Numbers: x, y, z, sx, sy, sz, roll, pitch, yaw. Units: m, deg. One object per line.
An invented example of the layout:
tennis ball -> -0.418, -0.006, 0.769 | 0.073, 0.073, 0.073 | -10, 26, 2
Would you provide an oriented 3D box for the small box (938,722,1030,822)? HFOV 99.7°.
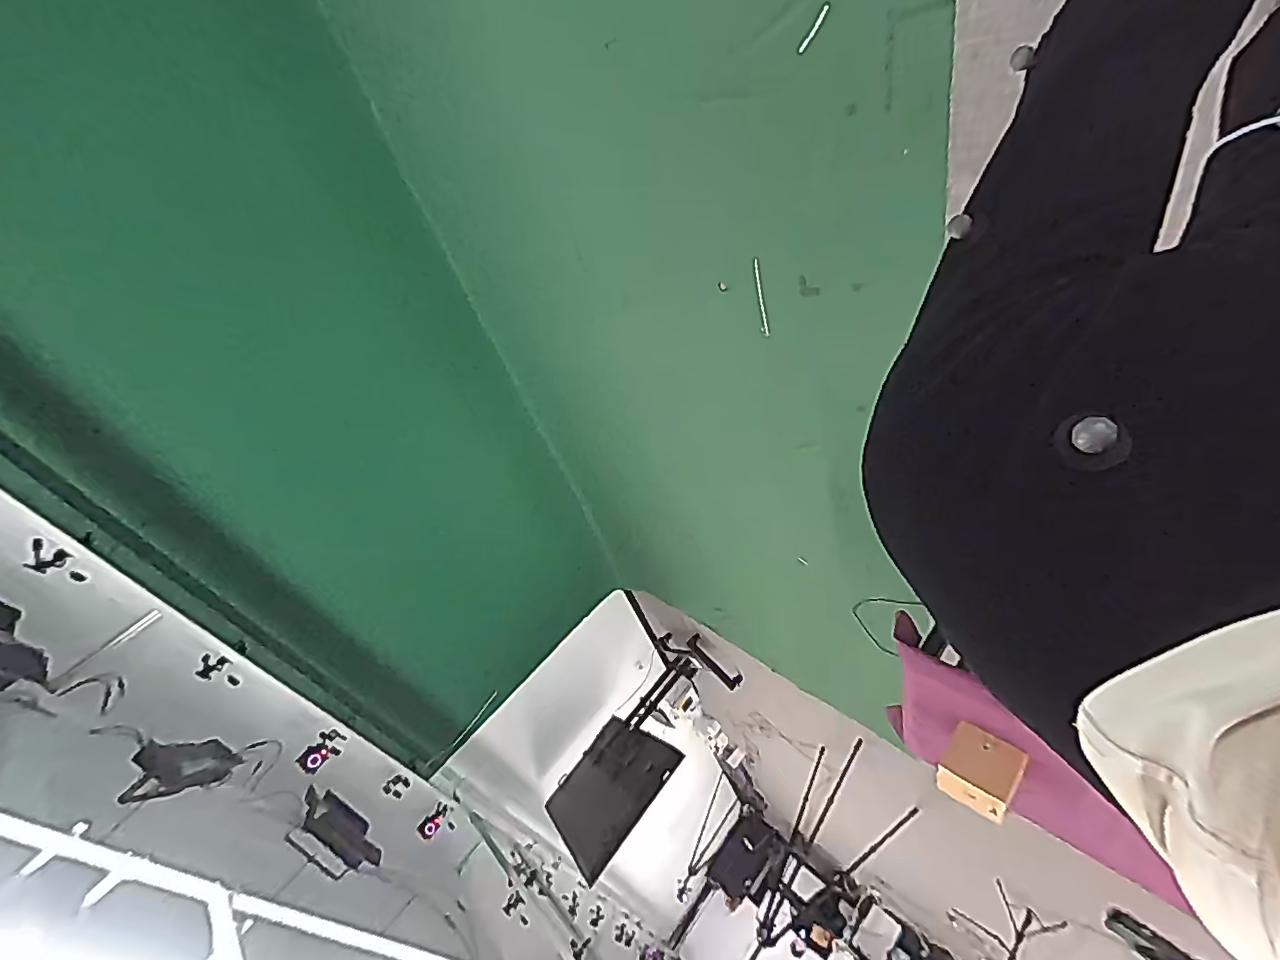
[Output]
small box -> 1.004, 0.844, 1.585 | 0.179, 0.176, 0.168 | 21, 146, 42
